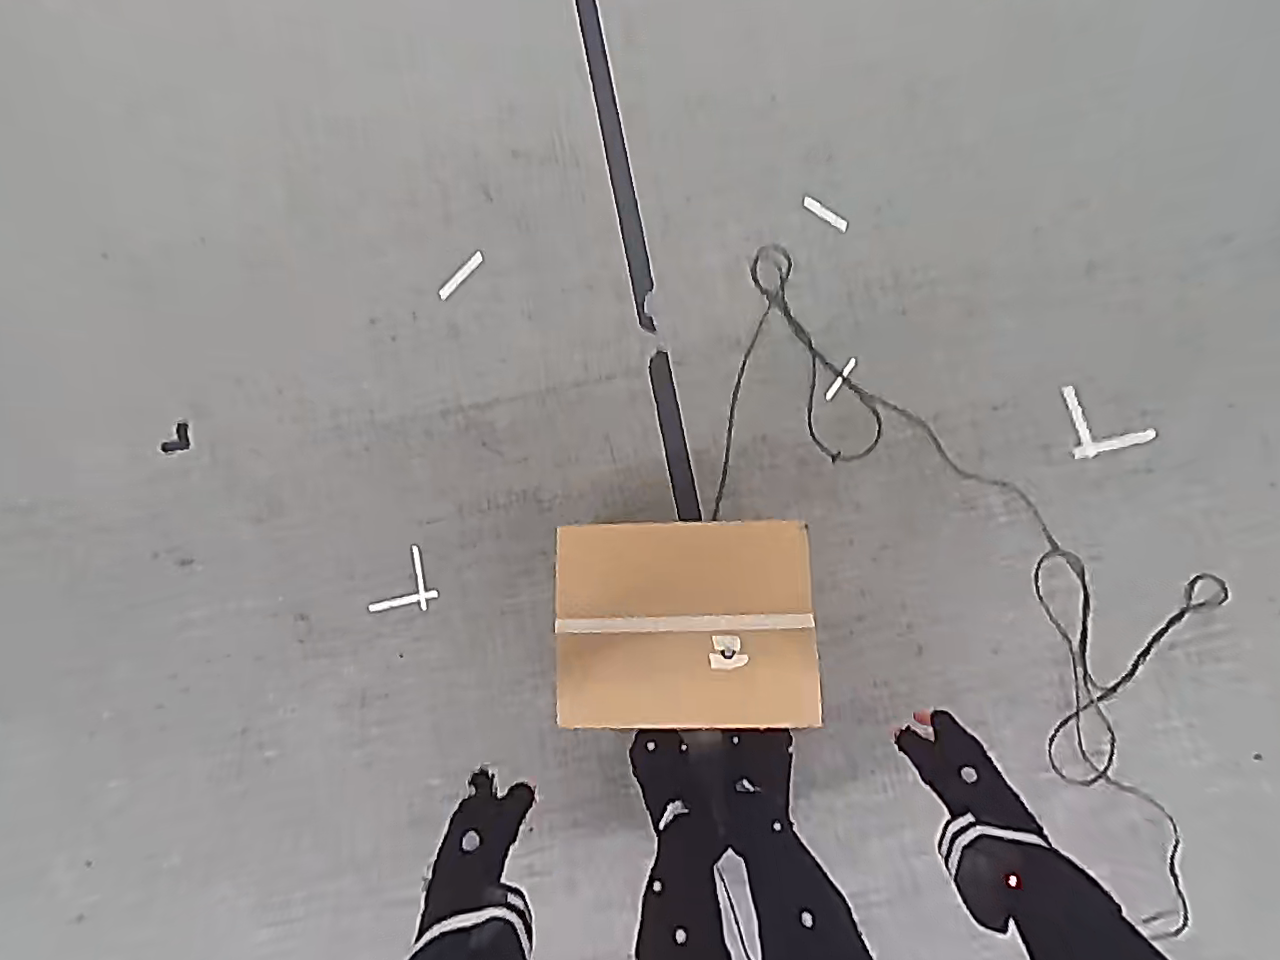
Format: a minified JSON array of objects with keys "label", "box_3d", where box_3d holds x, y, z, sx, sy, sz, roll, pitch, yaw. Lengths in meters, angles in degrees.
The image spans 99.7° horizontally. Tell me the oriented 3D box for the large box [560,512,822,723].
[{"label":"large box","box_3d":[0.078,0.240,0.996,0.408,0.320,0.320,-2,80,3]}]
